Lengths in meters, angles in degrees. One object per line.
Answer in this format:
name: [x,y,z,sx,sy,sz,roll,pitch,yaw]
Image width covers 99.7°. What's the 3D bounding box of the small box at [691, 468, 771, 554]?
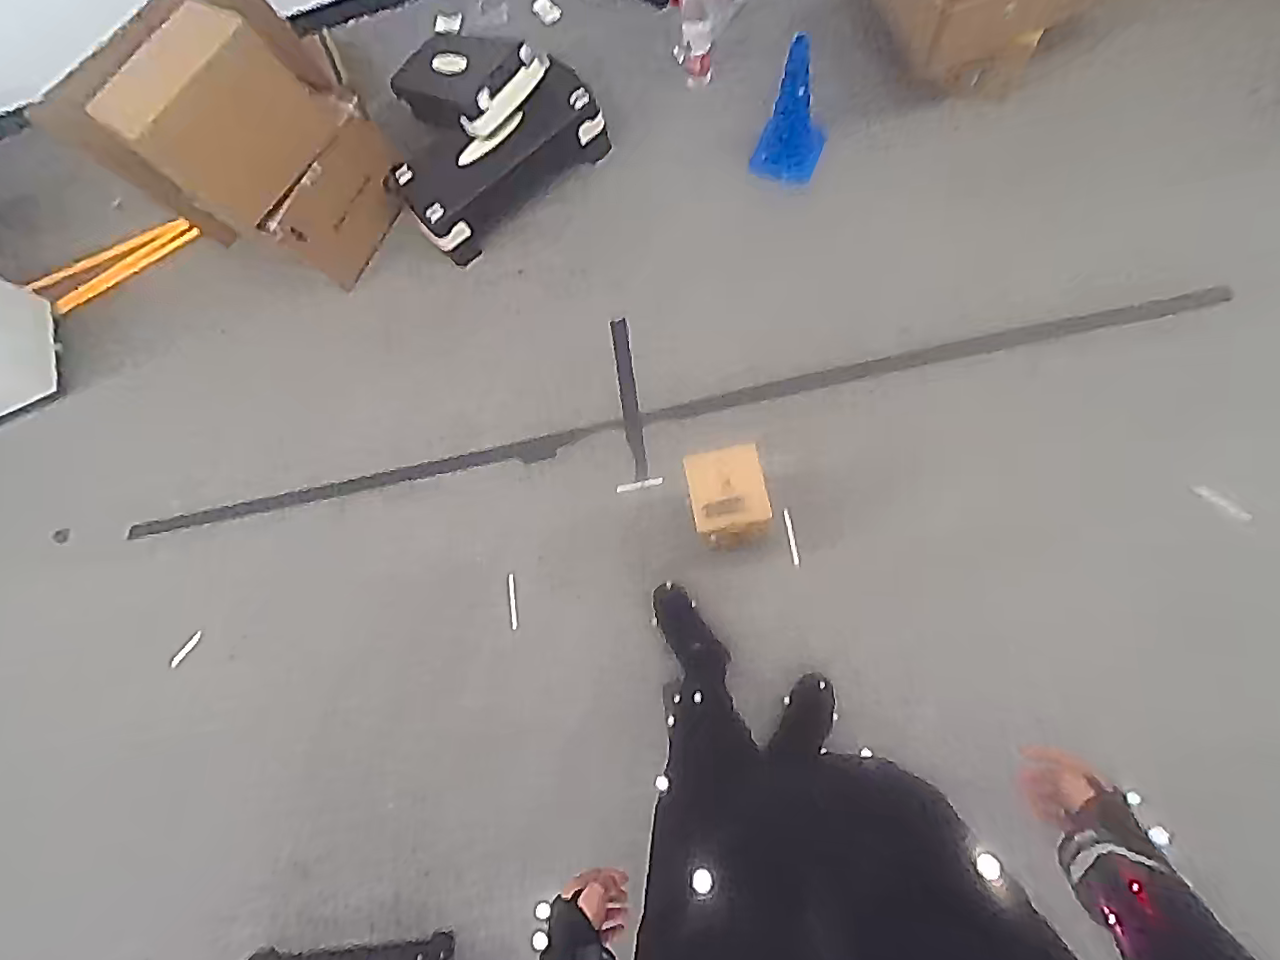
small box: [0.236,0.087,1.418,0.168,0.176,0.179,-14,76,7]
